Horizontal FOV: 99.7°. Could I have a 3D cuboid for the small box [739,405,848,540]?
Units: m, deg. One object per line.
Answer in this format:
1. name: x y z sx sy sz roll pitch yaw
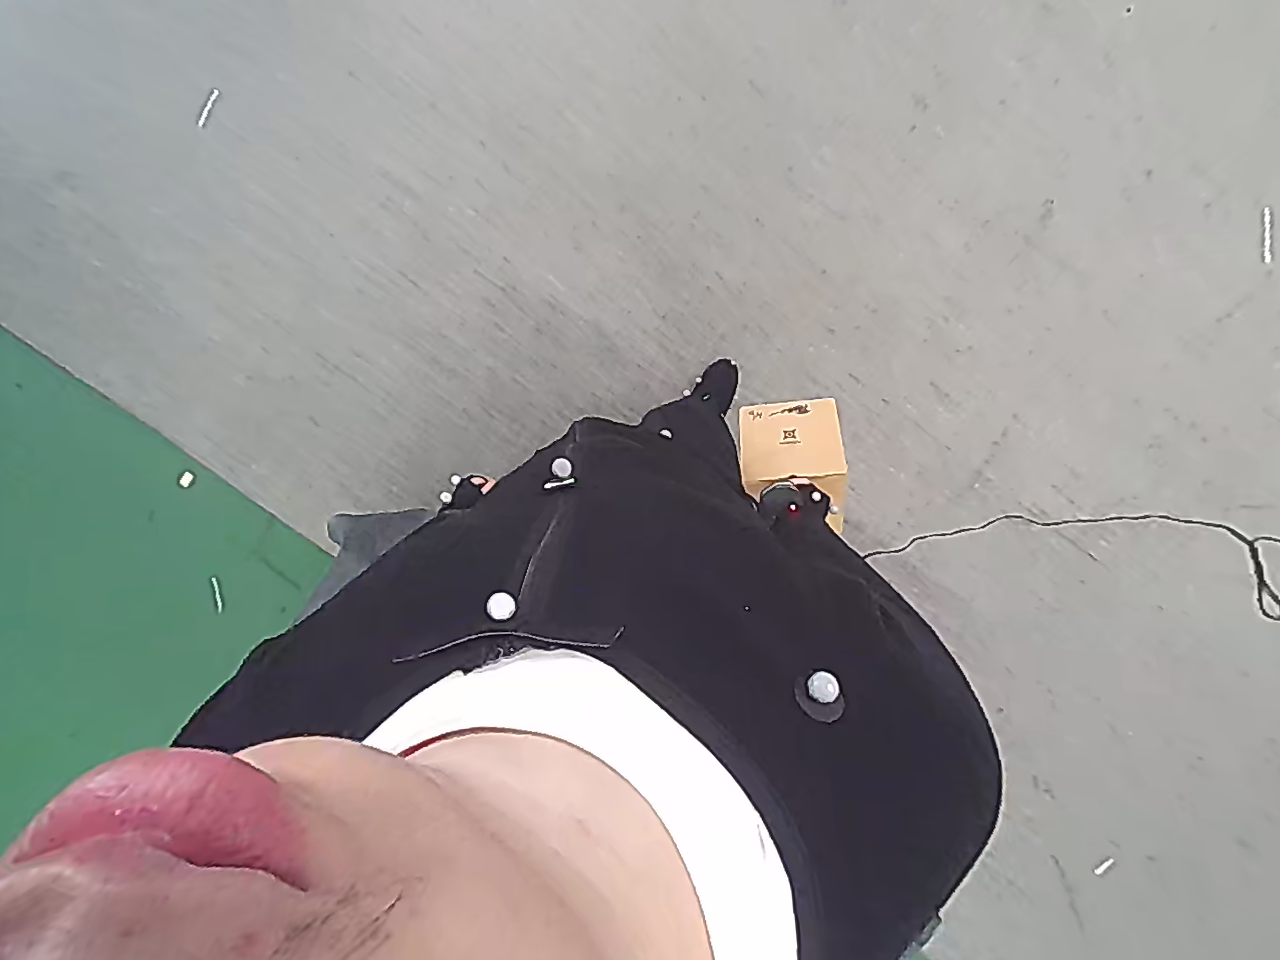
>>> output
1. small box: 0.275 -0.005 0.969 0.168 0.179 0.176 -8 138 14
